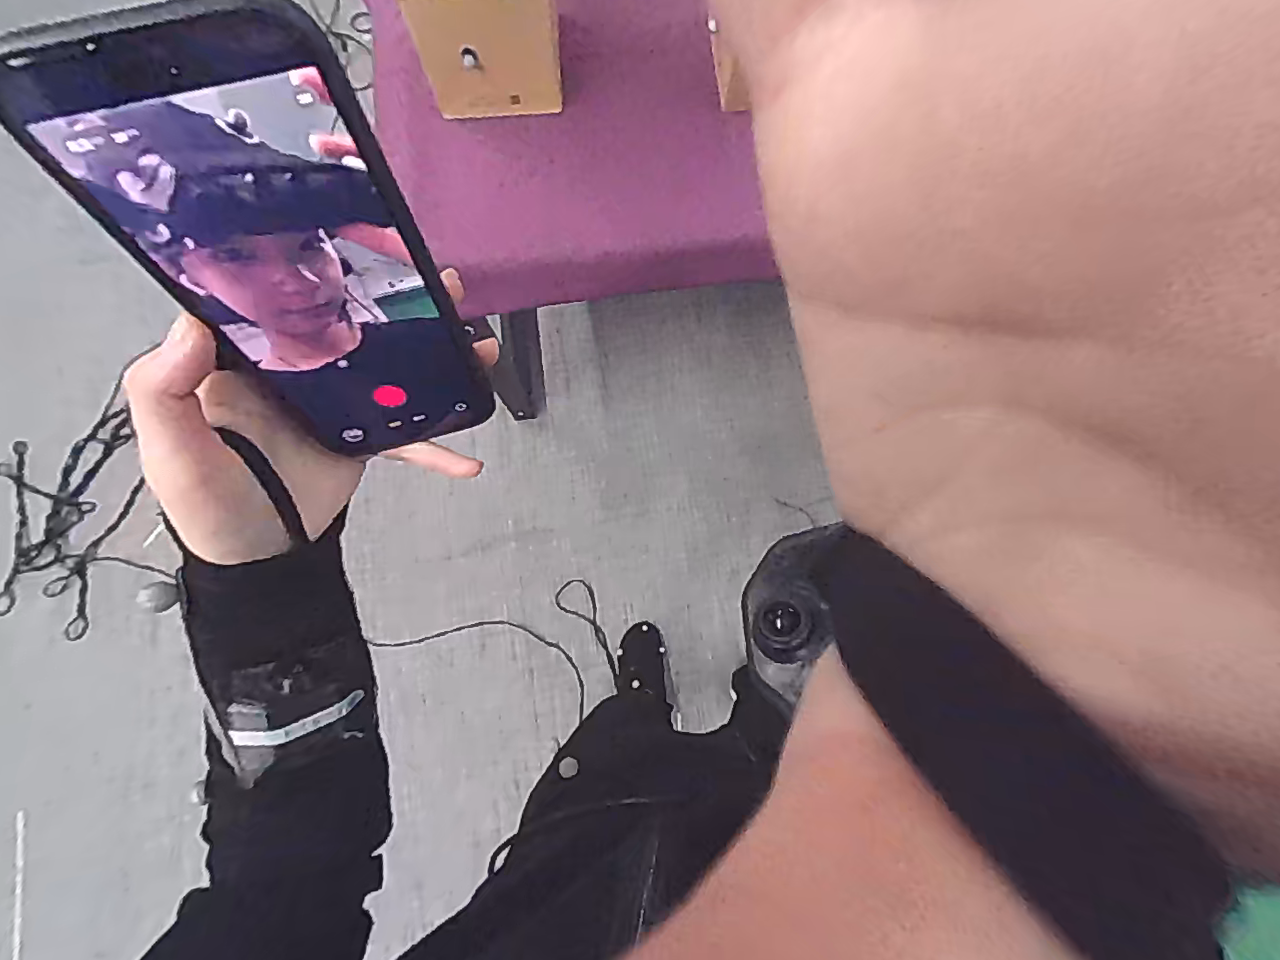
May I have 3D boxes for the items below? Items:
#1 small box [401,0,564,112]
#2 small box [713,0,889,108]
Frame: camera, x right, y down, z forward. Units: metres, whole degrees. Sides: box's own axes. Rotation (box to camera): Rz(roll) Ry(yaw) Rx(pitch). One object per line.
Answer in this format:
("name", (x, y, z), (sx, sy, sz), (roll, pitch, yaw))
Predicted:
("small box", (-0.192, -0.610, 0.697), (0.168, 0.176, 0.179), (-4, 79, -1))
("small box", (0.199, -0.620, 0.699), (0.179, 0.176, 0.168), (-4, 79, -1))
